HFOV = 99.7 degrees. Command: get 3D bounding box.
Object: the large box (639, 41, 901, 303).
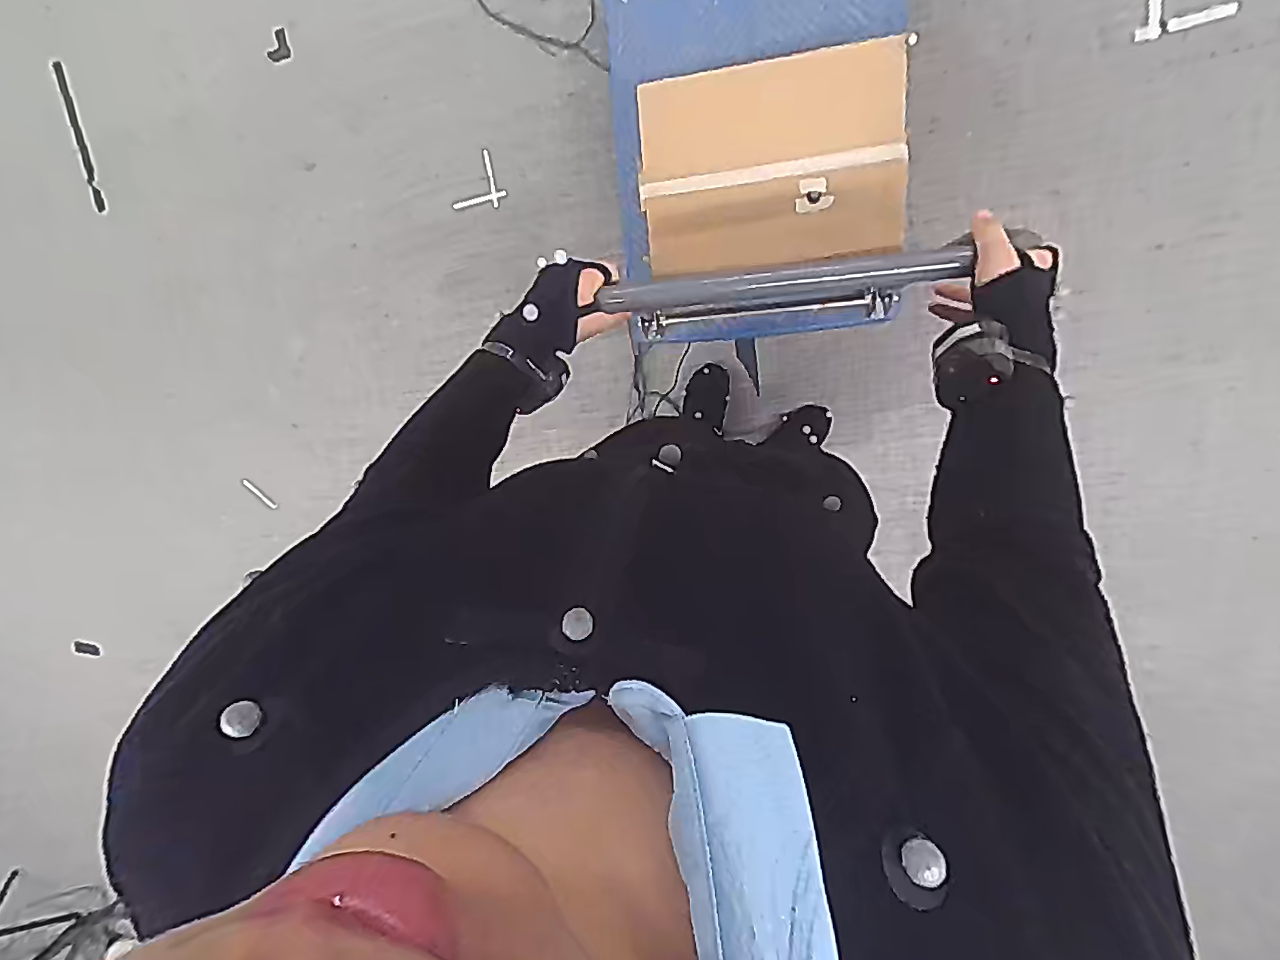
[{"bbox_3d":[0.231,-0.525,1.011,0.408,0.320,0.320,-3,104,11],"label":"large box"}]
